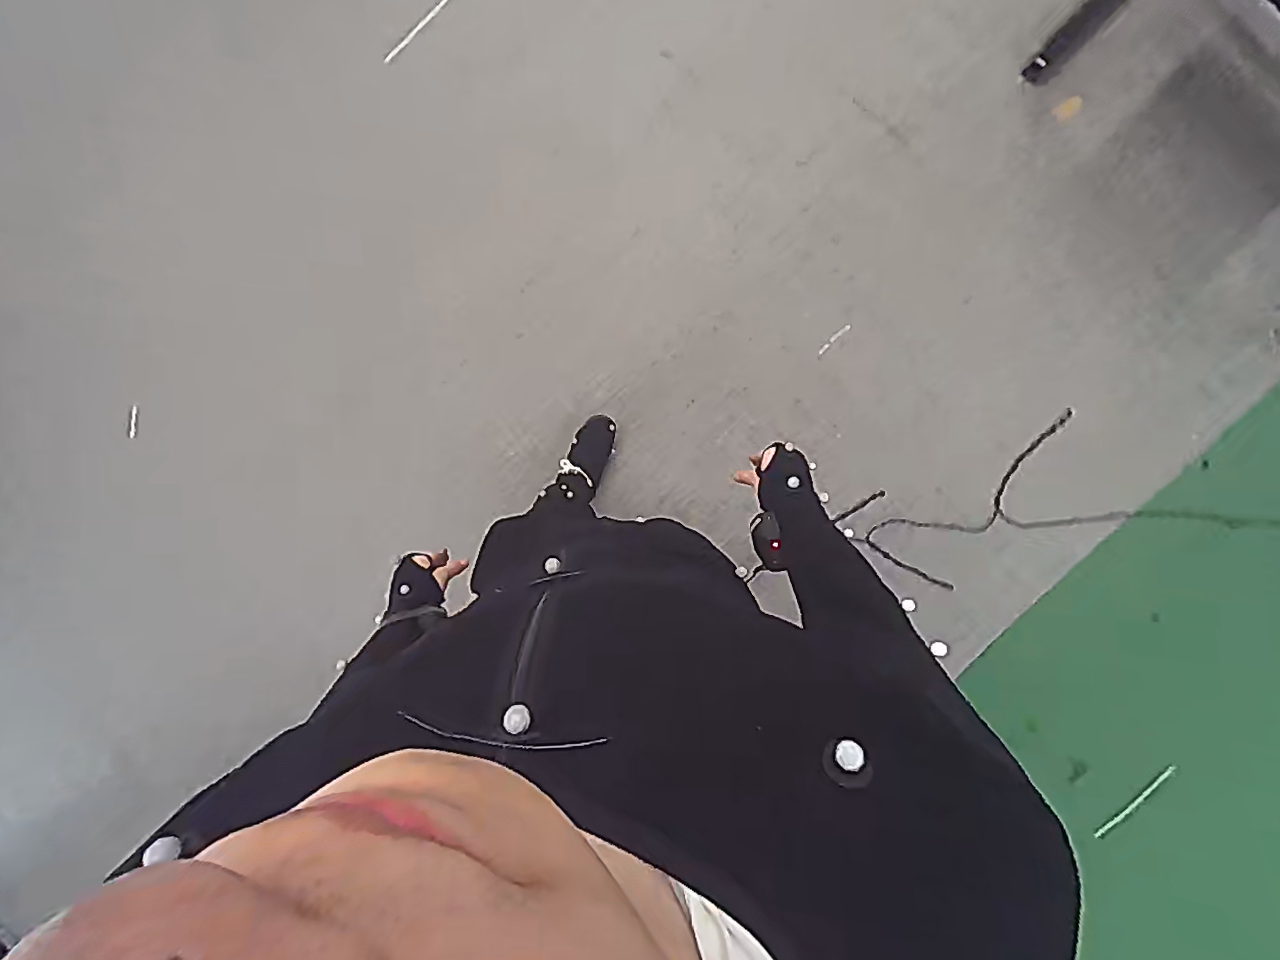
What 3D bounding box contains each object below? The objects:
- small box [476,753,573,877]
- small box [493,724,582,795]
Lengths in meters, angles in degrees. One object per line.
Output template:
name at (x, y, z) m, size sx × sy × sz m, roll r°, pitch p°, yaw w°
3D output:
small box at (-0.290, 0.860, 1.410) m, size 0.168 × 0.176 × 0.179 m, roll 42°, pitch 91°, yaw 1°
small box at (-0.288, 0.853, 1.573) m, size 0.179 × 0.176 × 0.168 m, roll 45°, pitch 92°, yaw 1°
